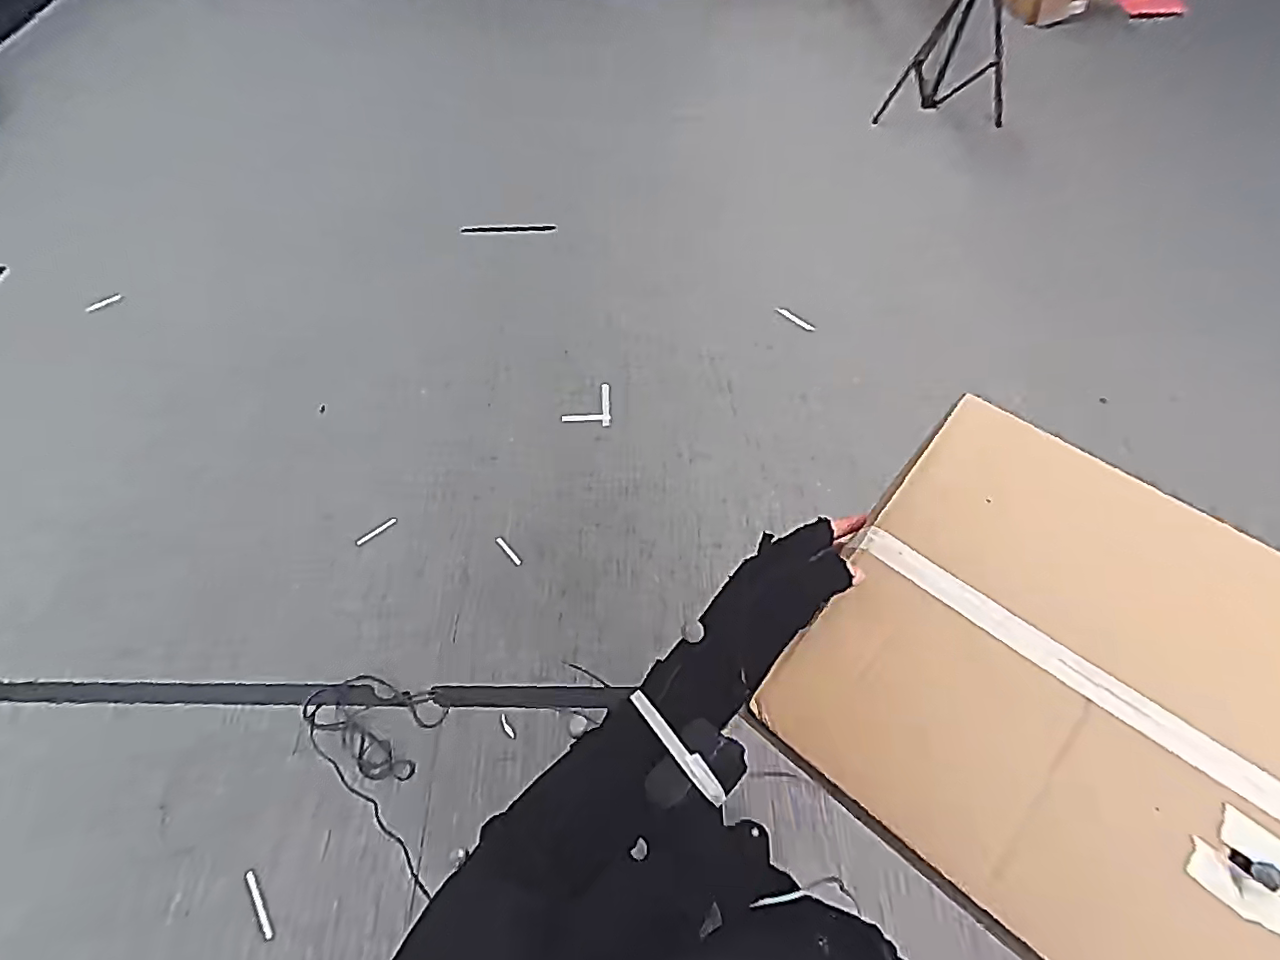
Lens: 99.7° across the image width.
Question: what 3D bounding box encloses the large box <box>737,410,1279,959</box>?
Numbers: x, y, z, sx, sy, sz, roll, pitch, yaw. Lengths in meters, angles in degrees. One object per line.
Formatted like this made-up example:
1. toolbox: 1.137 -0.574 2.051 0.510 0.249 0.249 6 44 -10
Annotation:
1. large box: 0.343 0.212 0.494 0.408 0.320 0.320 35 77 20
